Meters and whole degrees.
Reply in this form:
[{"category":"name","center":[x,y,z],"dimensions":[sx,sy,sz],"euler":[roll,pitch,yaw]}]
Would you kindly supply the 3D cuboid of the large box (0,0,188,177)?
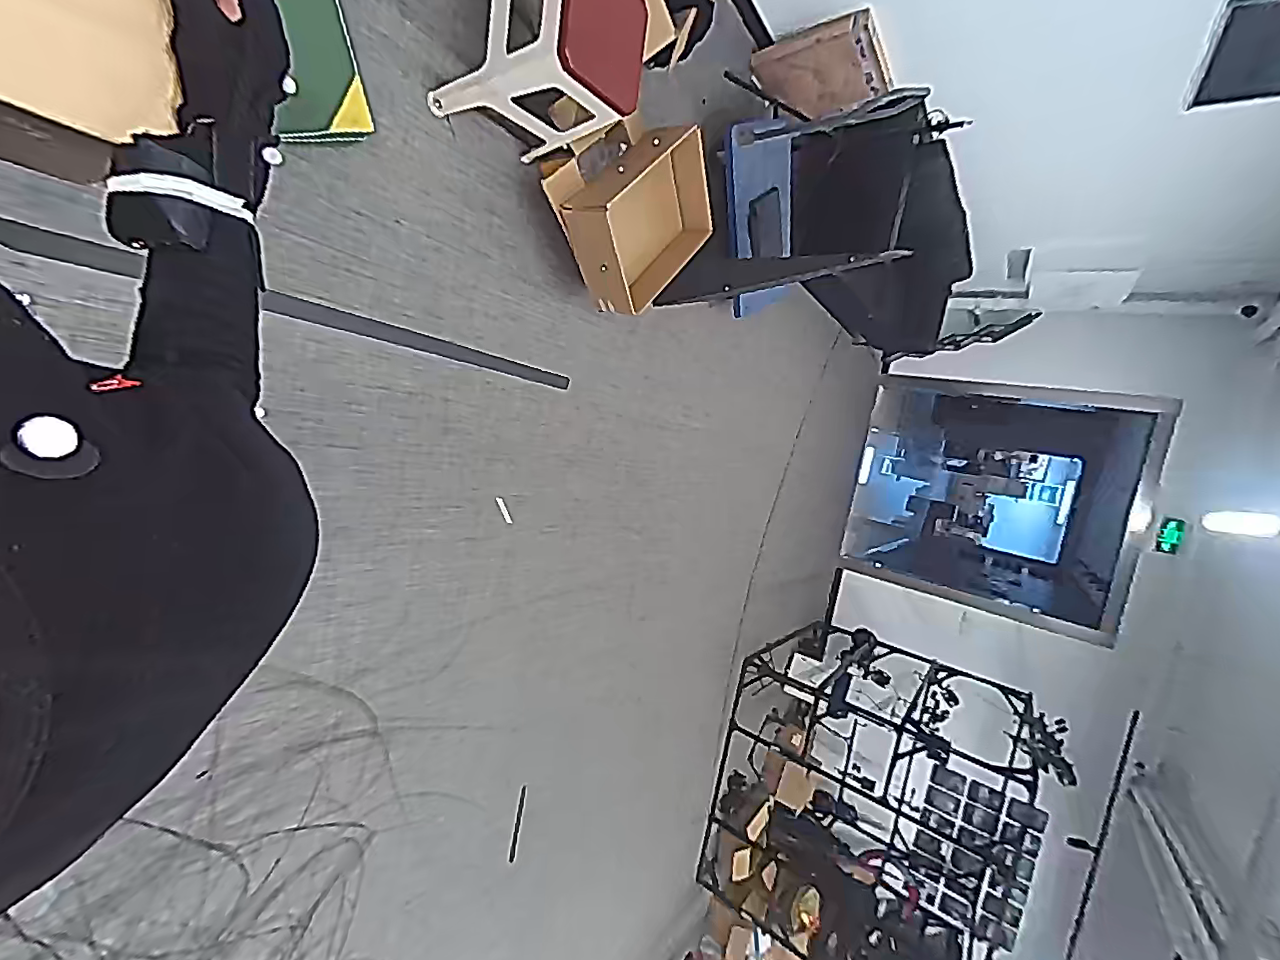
[{"category":"large box","center":[-0.557,-0.428,0.310],"dimensions":[0.408,0.320,0.320],"euler":[1,105,-56]}]
